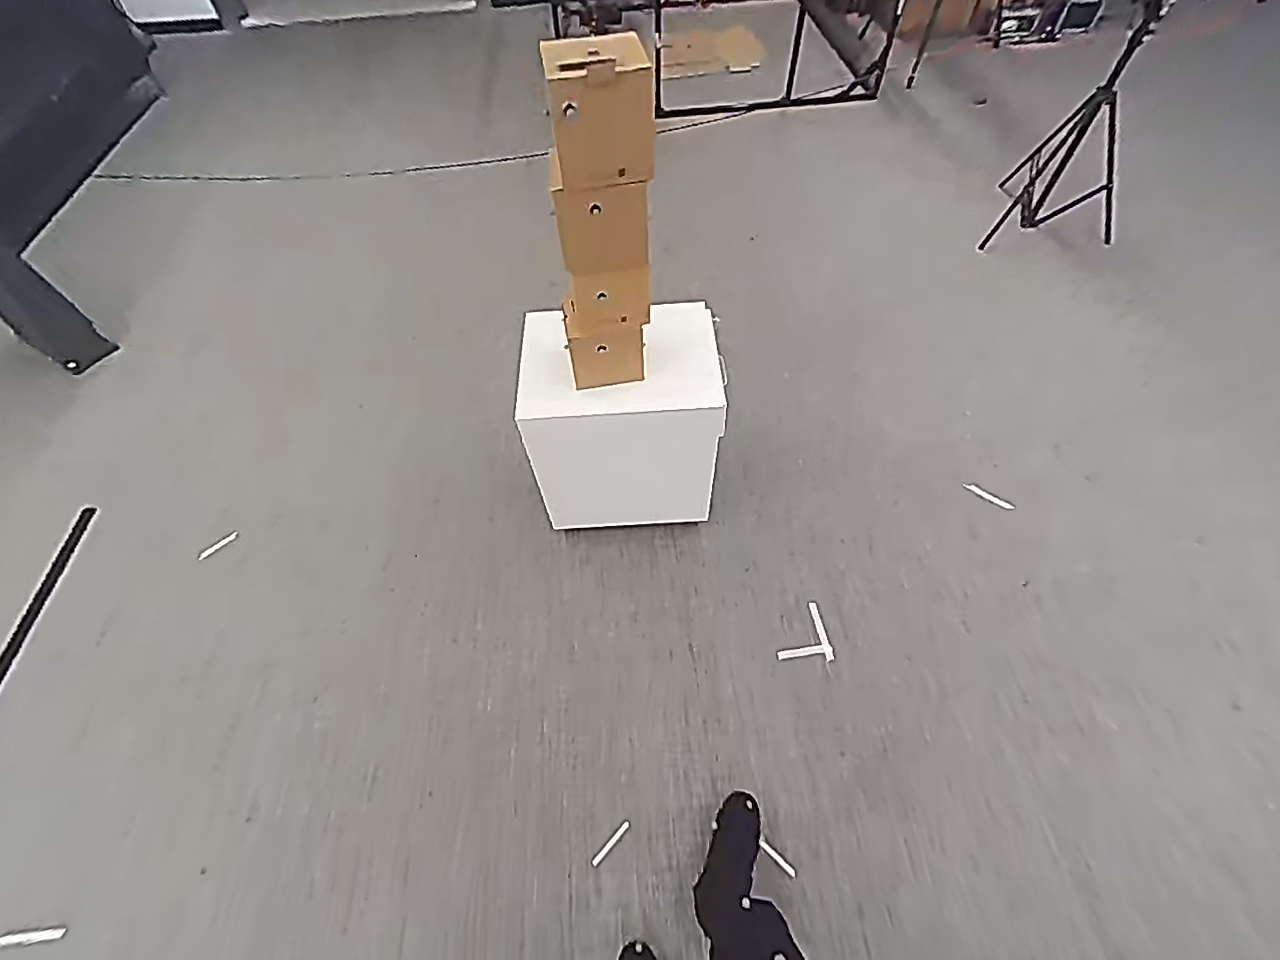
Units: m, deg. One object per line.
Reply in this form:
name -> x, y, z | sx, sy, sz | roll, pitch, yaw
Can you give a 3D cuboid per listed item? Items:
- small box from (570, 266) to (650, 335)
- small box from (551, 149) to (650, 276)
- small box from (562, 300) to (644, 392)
small box -> -0.070, -0.445, 1.222 | 0.168, 0.176, 0.179 | -8, 55, -4
small box -> -0.077, -0.528, 1.079 | 0.179, 0.176, 0.168 | -6, 55, -2
small box -> -0.089, -0.337, 1.345 | 0.179, 0.176, 0.168 | -9, 56, -5
